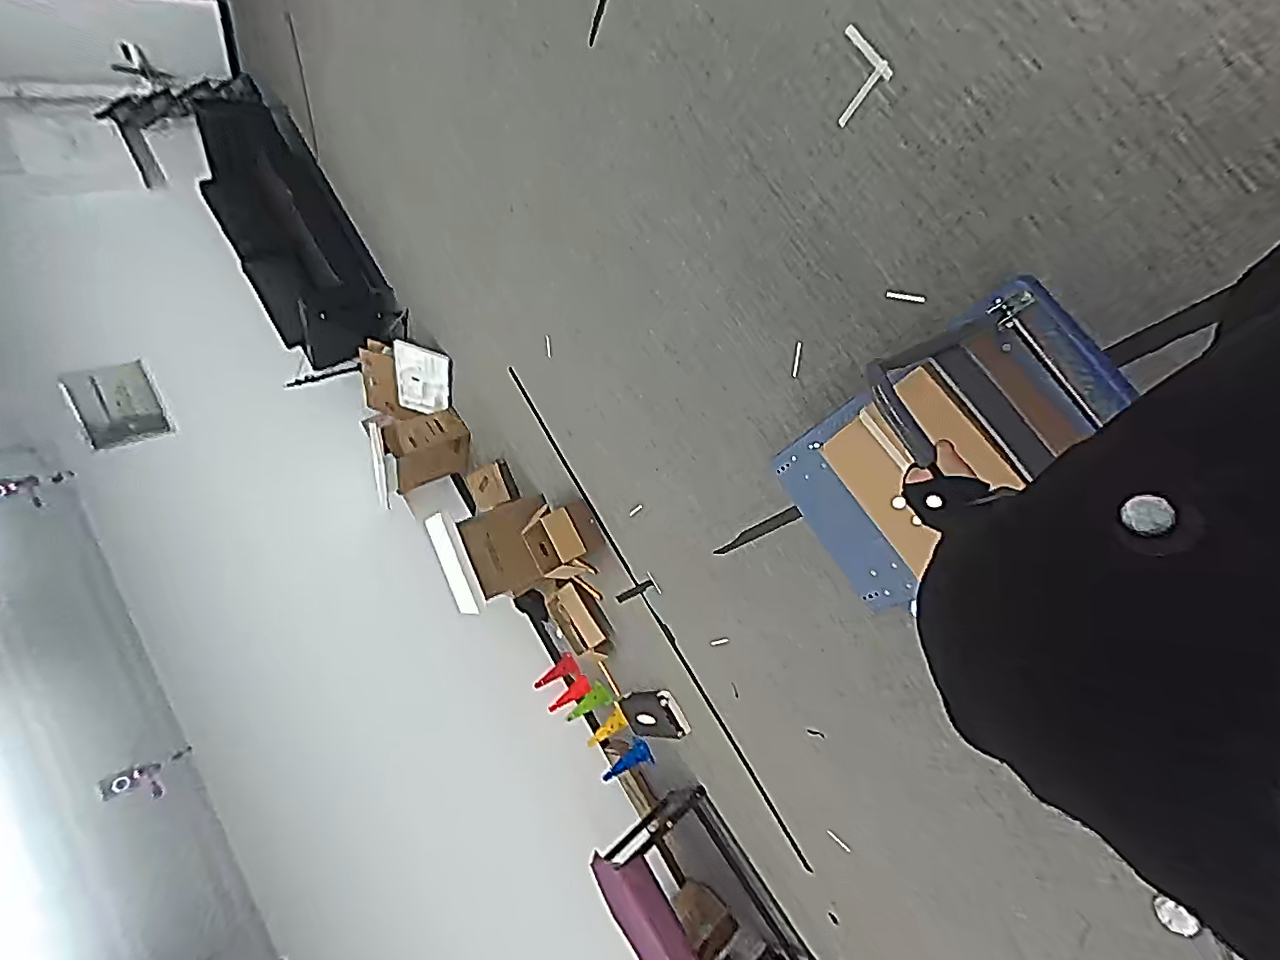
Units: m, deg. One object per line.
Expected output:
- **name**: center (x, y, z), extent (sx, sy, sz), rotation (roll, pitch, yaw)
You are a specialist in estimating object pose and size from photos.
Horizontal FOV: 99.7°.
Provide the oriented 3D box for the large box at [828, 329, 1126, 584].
- **large box**: center (0.712, -0.053, 1.174), extent (0.408, 0.320, 0.320), rotation (57, 145, 13)
